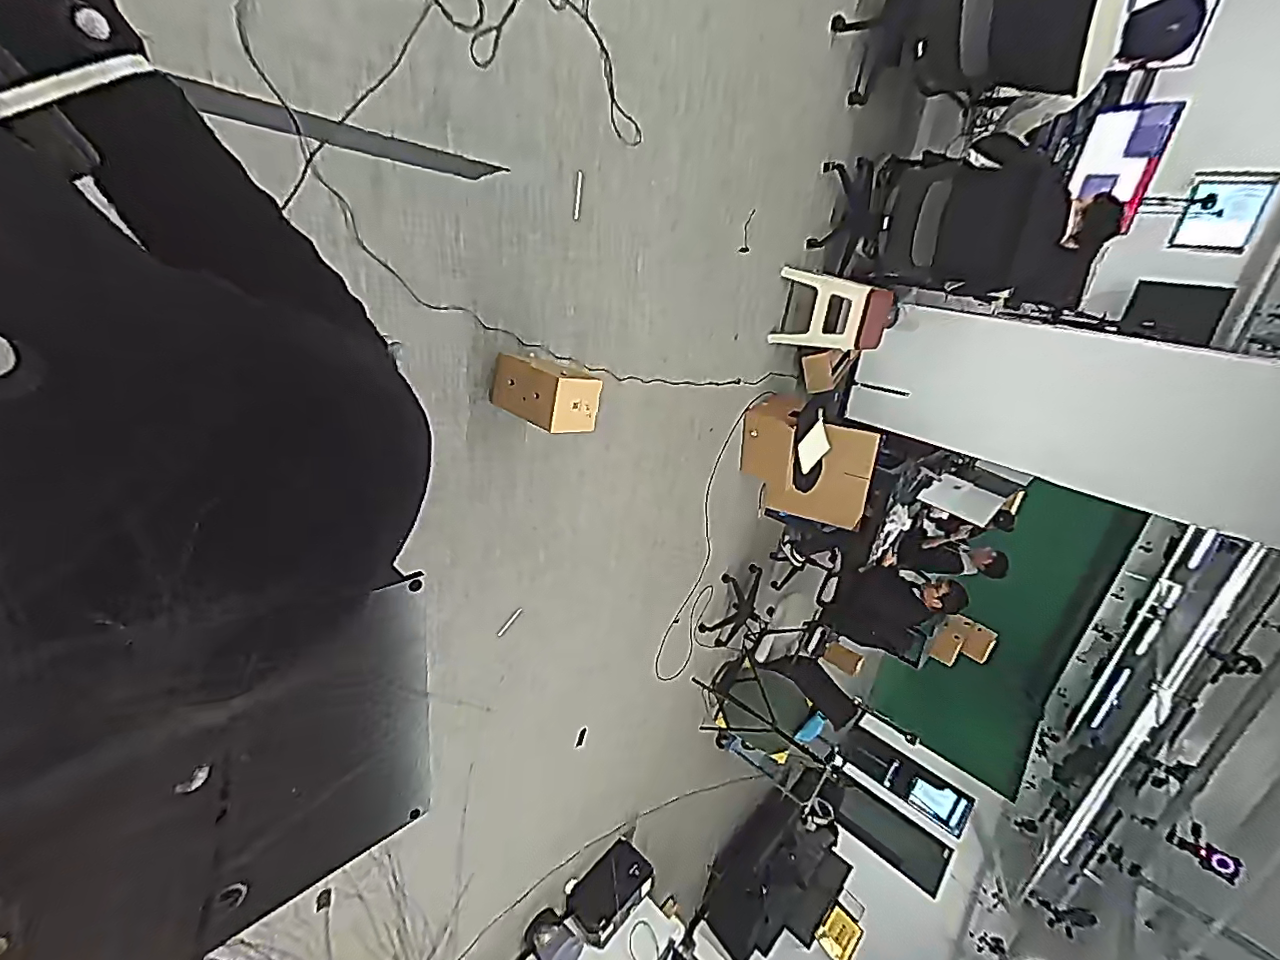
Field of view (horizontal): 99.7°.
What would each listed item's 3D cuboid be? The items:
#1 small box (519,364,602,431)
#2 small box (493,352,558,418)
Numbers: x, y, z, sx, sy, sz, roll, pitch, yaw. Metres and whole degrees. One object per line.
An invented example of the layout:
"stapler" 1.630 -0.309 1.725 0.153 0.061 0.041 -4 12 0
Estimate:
"small box" -0.248 -0.253 1.656 0.179 0.176 0.168 -9 119 -48
"small box" -0.361 -0.308 1.765 0.168 0.176 0.179 -5 114 -49
